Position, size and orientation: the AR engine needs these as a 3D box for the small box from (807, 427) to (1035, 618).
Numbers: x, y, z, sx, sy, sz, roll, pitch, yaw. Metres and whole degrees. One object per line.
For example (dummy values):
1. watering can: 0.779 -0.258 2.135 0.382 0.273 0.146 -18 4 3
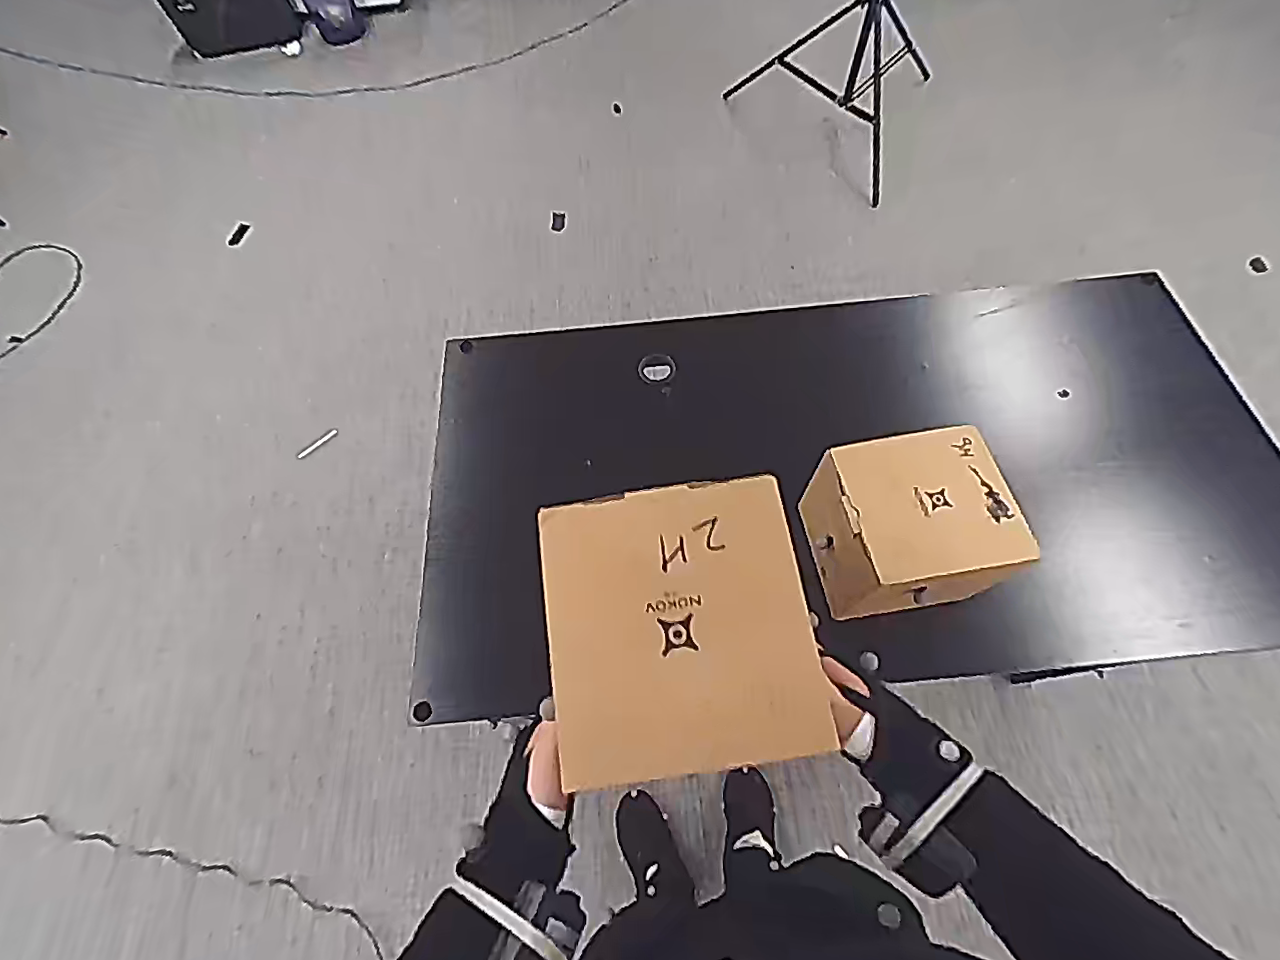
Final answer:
1. small box: 0.315 0.060 0.659 0.179 0.176 0.168 -10 63 0

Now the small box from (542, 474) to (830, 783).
1. small box: 0.027 0.113 0.423 0.168 0.176 0.179 -9 70 -1
